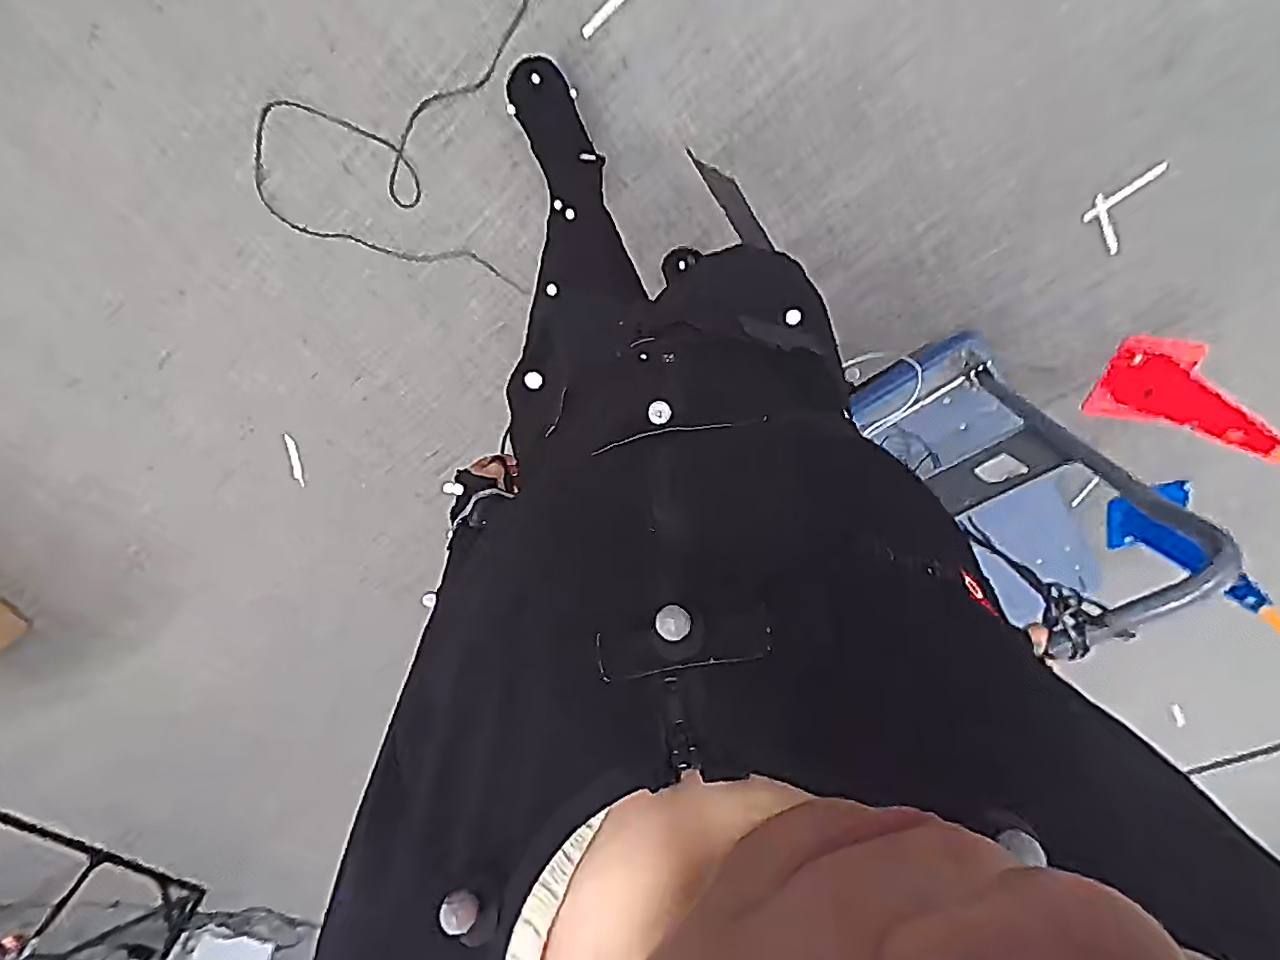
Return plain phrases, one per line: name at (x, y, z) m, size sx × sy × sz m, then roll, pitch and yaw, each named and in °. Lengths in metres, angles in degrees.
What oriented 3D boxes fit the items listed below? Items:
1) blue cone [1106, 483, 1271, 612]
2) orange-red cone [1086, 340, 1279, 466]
blue cone at (1.405, 0.192, 1.372) m, size 0.193 × 0.380 × 0.192 m, roll -18°, pitch 119°, yaw 13°
orange-red cone at (1.202, -0.136, 1.152) m, size 0.198 × 0.360 × 0.199 m, roll 8°, pitch 124°, yaw -2°
